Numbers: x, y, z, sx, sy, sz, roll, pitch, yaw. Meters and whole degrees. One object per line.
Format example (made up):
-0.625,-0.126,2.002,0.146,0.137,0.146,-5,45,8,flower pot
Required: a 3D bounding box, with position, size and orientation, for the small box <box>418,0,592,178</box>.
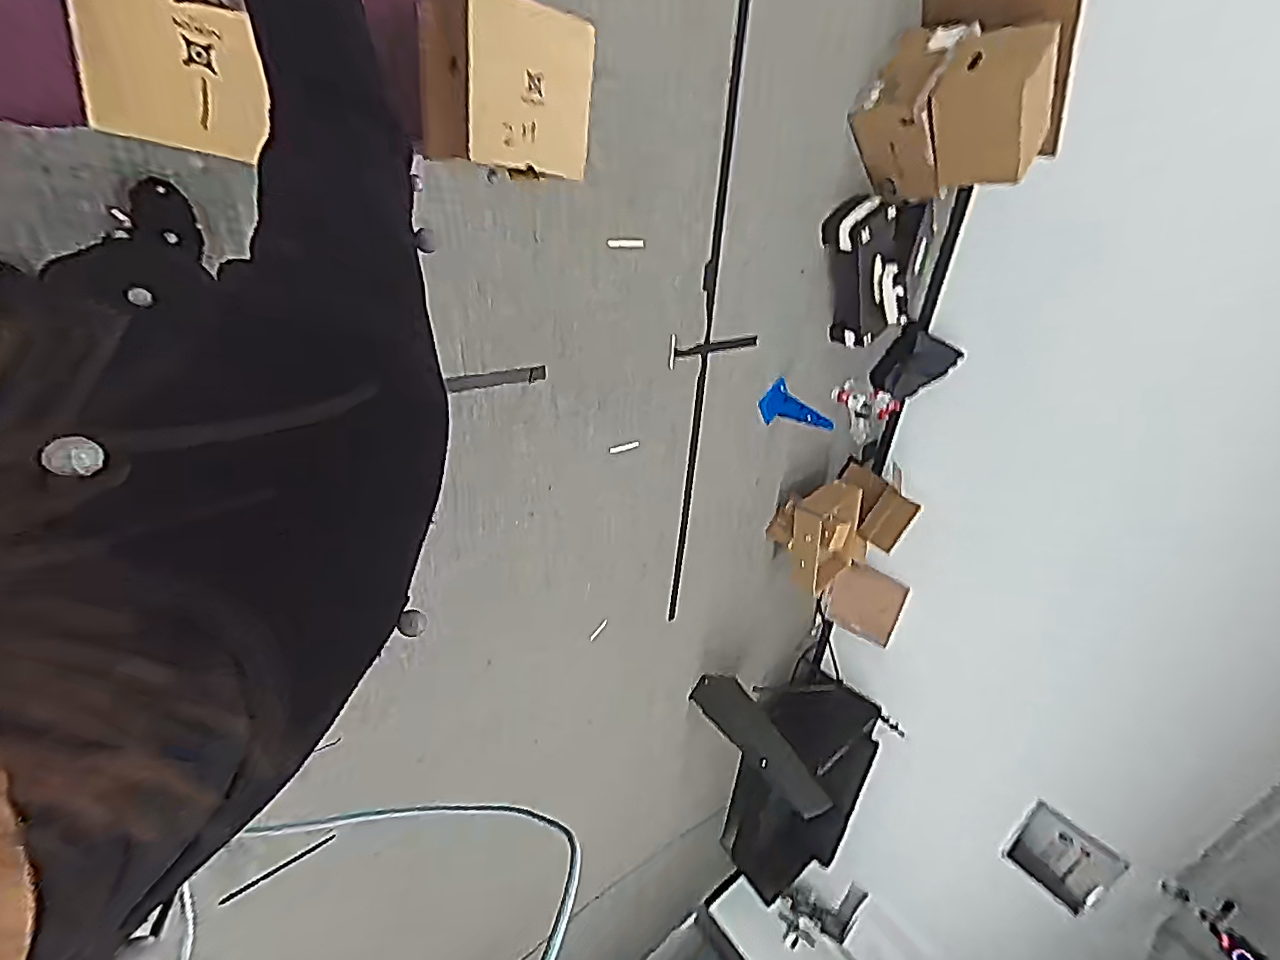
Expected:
-0.183,-0.512,0.714,0.168,0.176,0.179,-12,122,-37,small box
